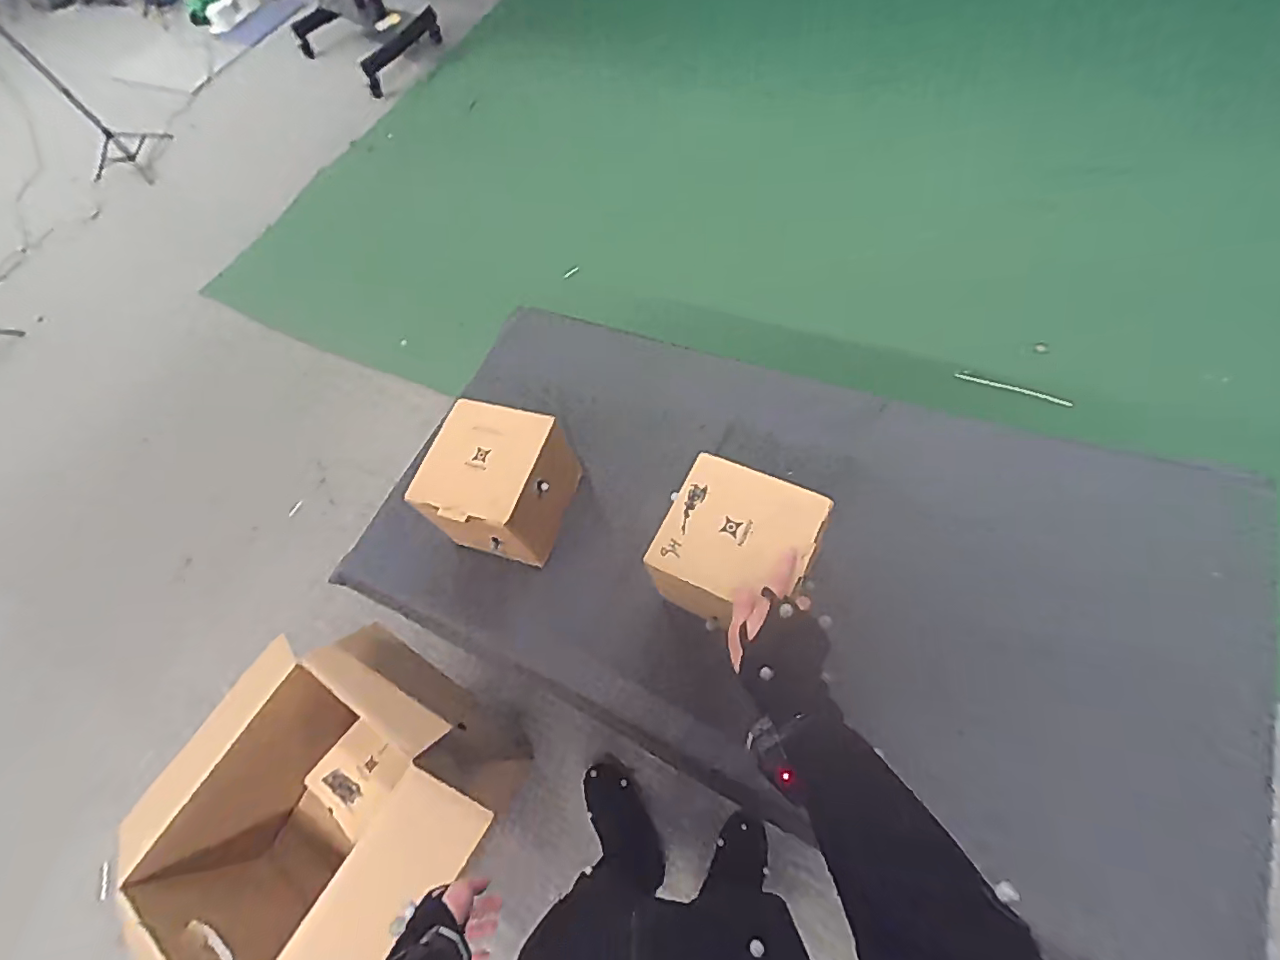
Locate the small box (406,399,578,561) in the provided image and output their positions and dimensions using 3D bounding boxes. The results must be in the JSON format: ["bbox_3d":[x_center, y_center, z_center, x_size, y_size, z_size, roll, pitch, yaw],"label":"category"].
[{"bbox_3d":[-0.211,0.005,0.830,0.168,0.176,0.179,13,64,16],"label":"small box"}]

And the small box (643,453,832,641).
[{"bbox_3d":[0.128,0.096,0.712,0.179,0.176,0.168,23,69,20],"label":"small box"}]
